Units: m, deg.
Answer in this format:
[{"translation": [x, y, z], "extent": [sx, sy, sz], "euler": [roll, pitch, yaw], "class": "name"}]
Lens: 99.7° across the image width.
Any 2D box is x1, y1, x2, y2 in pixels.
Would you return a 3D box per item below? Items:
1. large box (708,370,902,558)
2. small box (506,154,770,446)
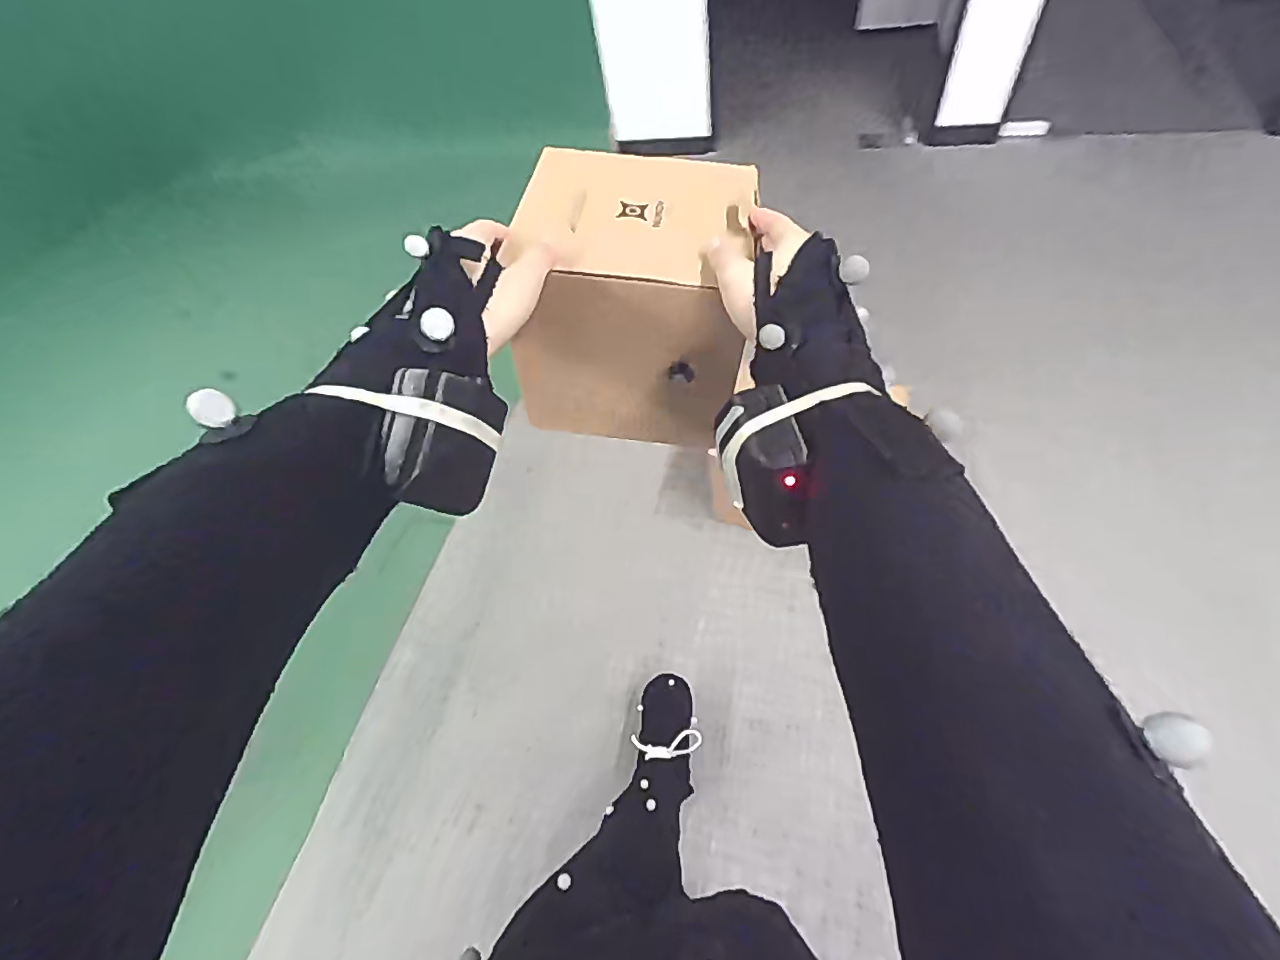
[{"translation": [0.405, -0.042, 1.387], "extent": [0.408, 0.320, 0.320], "euler": [13, 60, 17], "class": "large box"}, {"translation": [0.005, -0.146, 0.461], "extent": [0.179, 0.176, 0.168], "euler": [6, 54, 3], "class": "small box"}]
